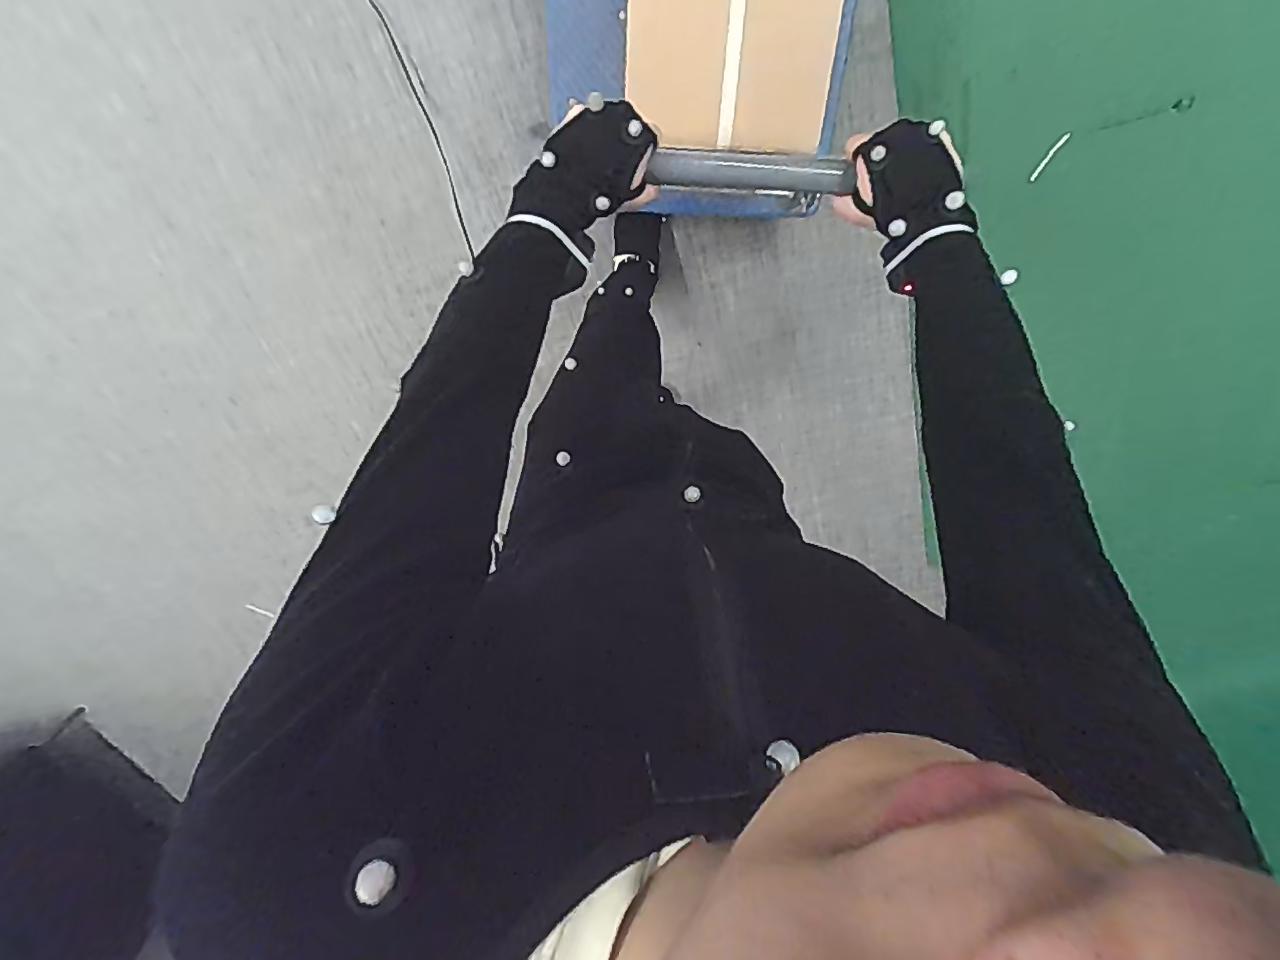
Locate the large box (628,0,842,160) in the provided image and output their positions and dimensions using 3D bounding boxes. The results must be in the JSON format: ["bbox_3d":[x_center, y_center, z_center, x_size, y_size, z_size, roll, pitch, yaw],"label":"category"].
[{"bbox_3d":[0.141,-0.778,0.906,0.320,0.320,0.408,1,117,-2],"label":"large box"}]
